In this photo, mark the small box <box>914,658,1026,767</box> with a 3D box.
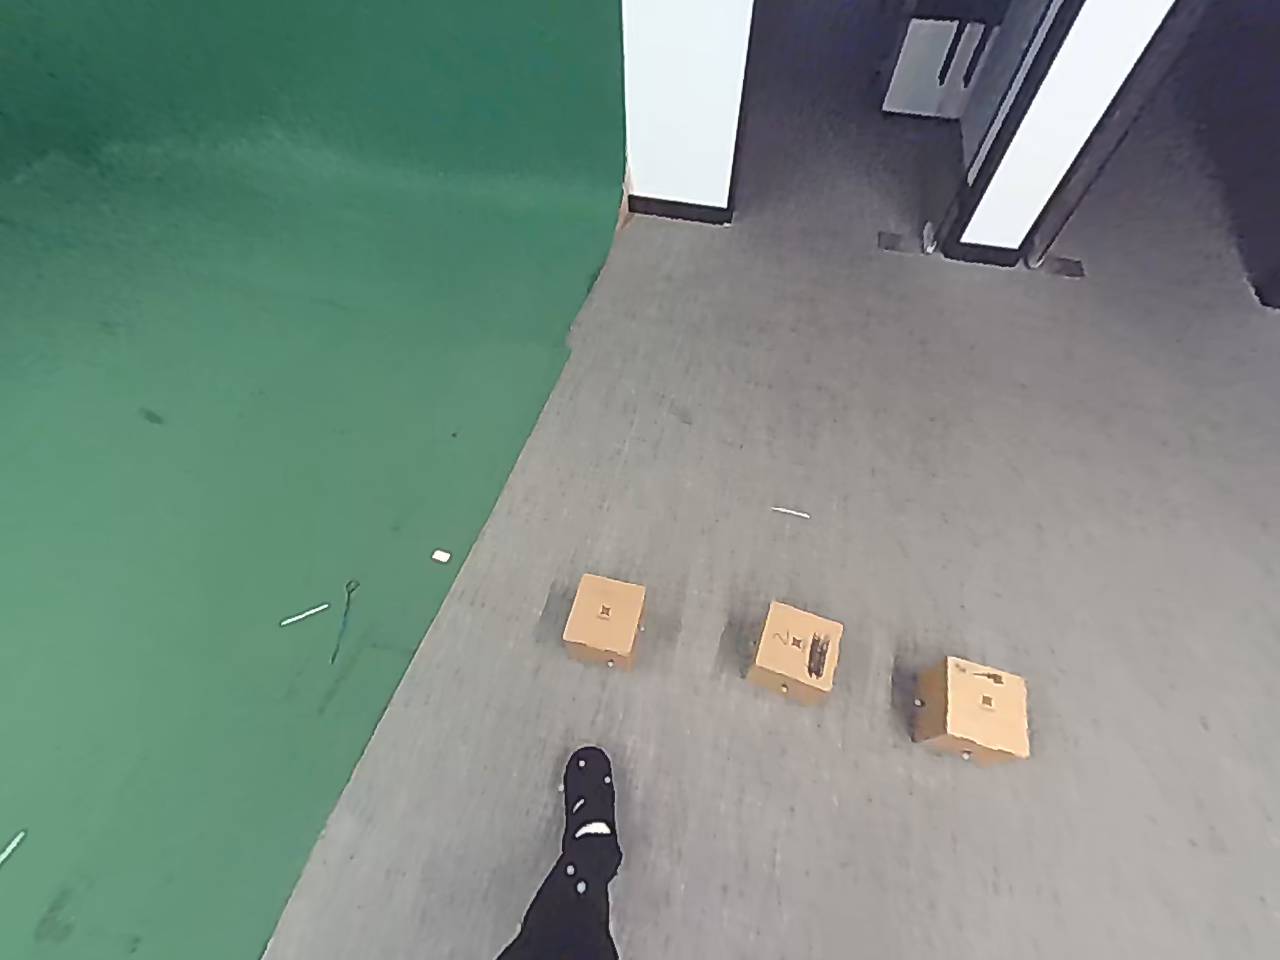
[{"bbox_3d":[0.750,0.539,1.241,0.168,0.176,0.179,15,58,10],"label":"small box"}]

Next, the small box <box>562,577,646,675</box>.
[{"bbox_3d":[-0.082,0.373,1.364,0.168,0.176,0.179,12,57,8],"label":"small box"}]
